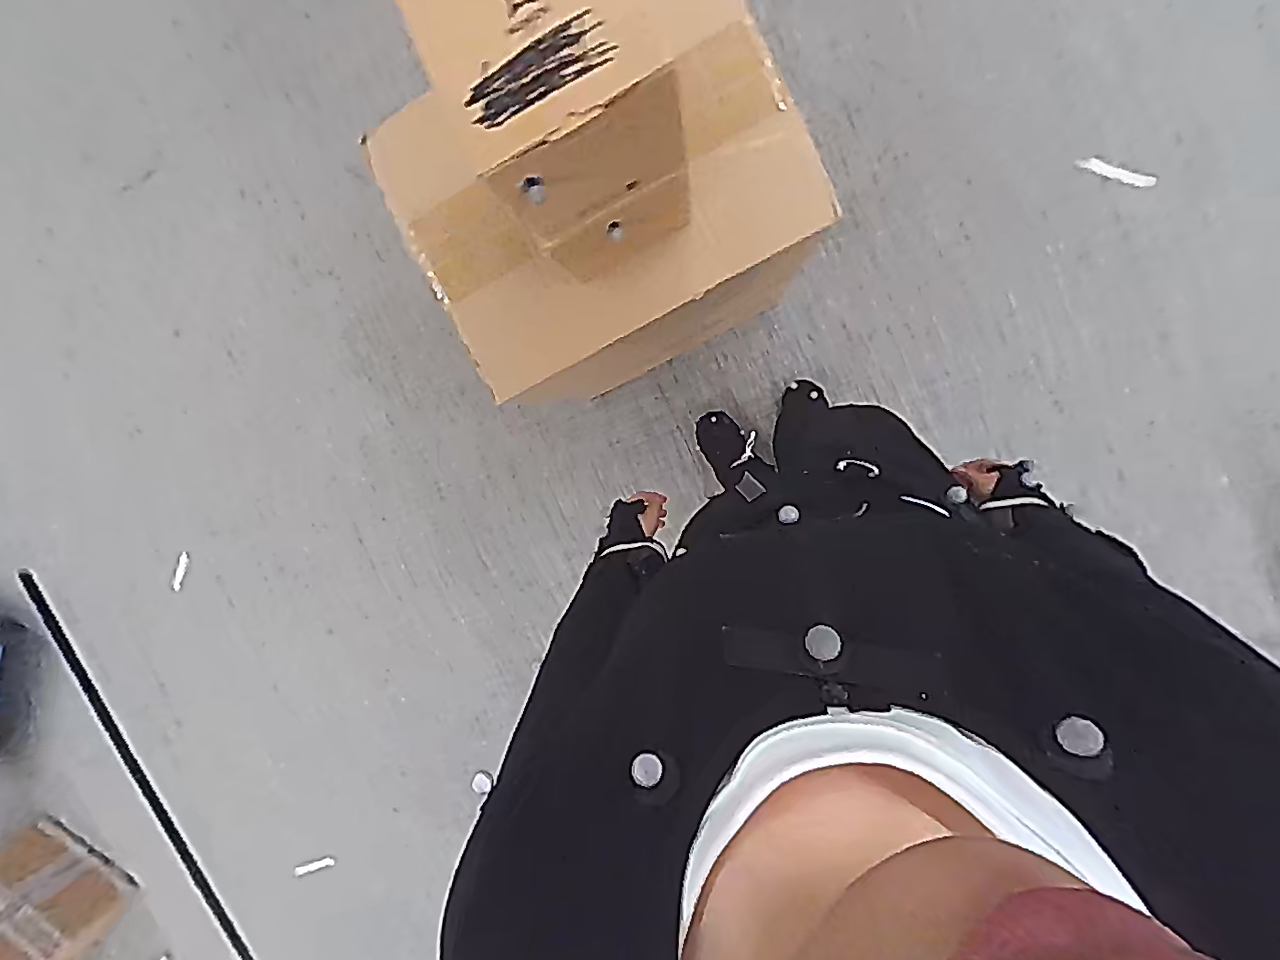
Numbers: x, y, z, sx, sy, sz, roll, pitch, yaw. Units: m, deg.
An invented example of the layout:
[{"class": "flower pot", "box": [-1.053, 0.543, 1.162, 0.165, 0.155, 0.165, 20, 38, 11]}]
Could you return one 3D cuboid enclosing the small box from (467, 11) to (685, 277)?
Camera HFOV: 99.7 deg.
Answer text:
[{"class": "small box", "box": [-0.059, -0.362, 0.624, 0.179, 0.176, 0.168, -26, 95, 11]}]
